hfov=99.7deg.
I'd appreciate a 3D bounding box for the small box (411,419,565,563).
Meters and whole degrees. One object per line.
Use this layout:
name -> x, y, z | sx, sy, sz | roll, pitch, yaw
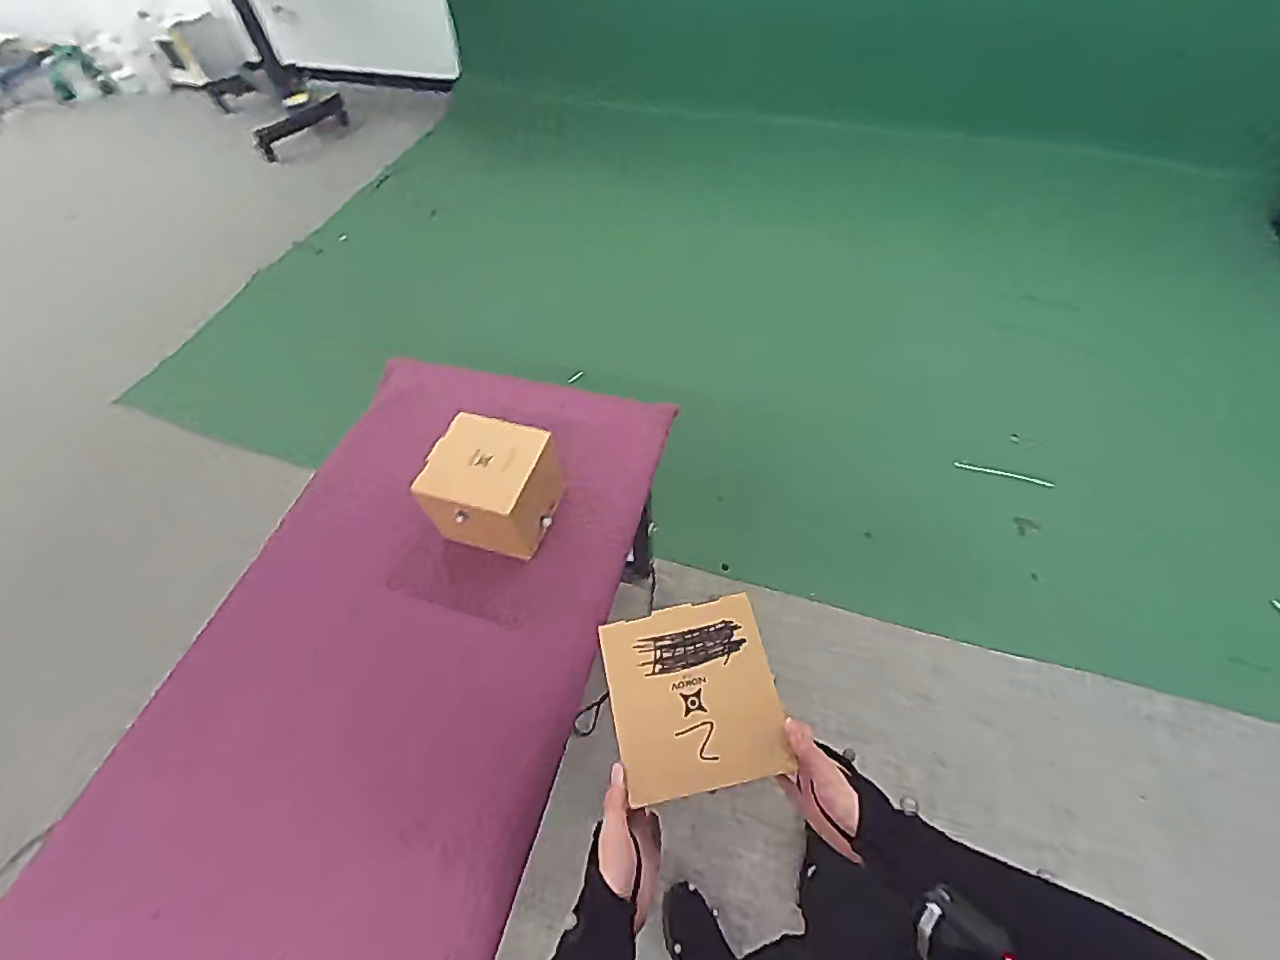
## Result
small box -> -0.248, 0.024, 0.930 | 0.179, 0.176, 0.168 | 14, 58, 13
